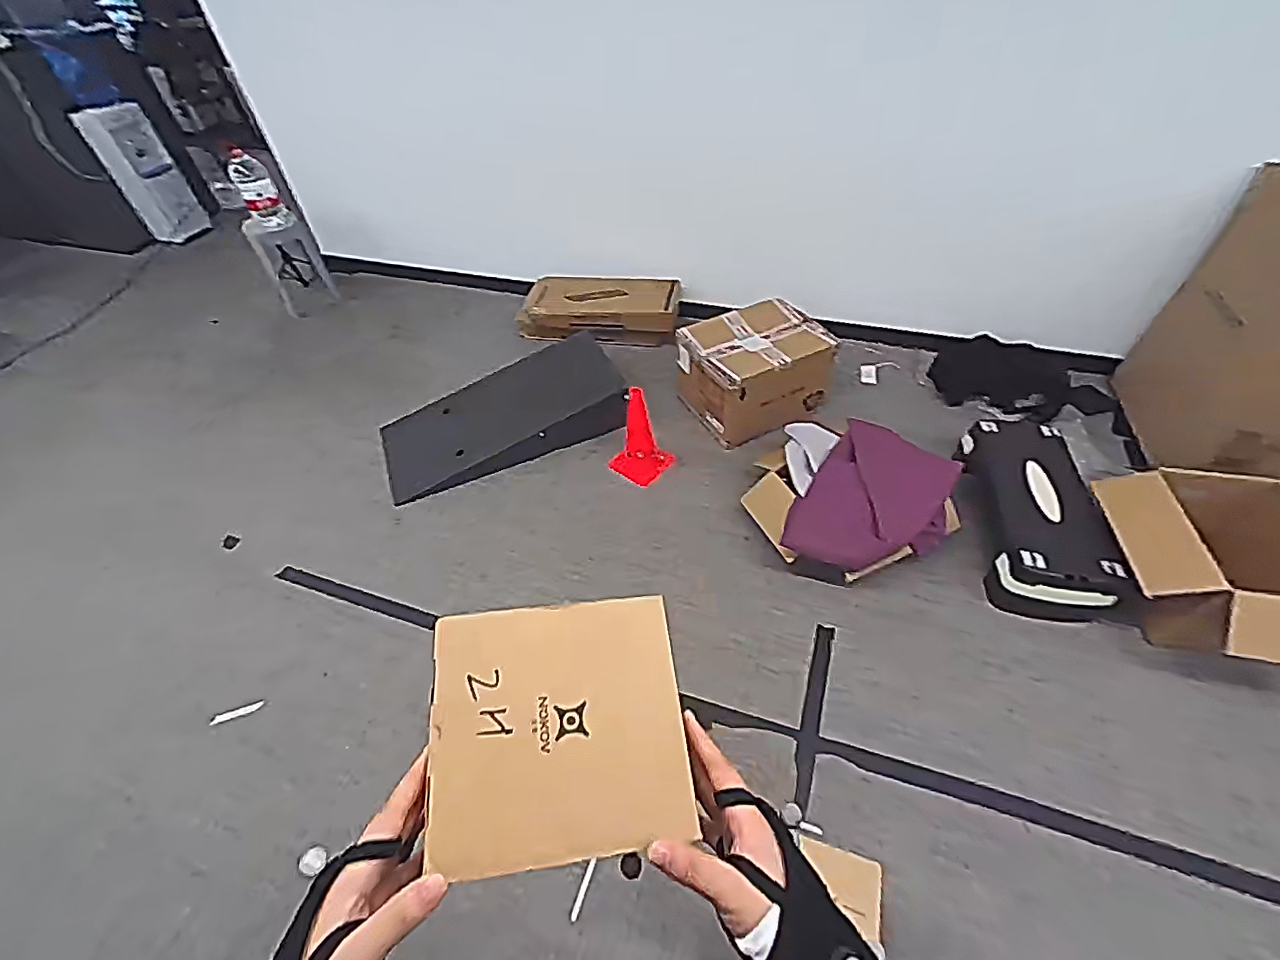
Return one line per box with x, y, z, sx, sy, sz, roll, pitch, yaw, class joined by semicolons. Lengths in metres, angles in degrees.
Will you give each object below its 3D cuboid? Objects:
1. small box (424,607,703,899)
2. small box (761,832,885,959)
-0.062;0.215;0.442;0.179;0.176;0.168;-4;59;-9;small box
0.323;0.772;0.972;0.179;0.176;0.168;13;50;14;small box
